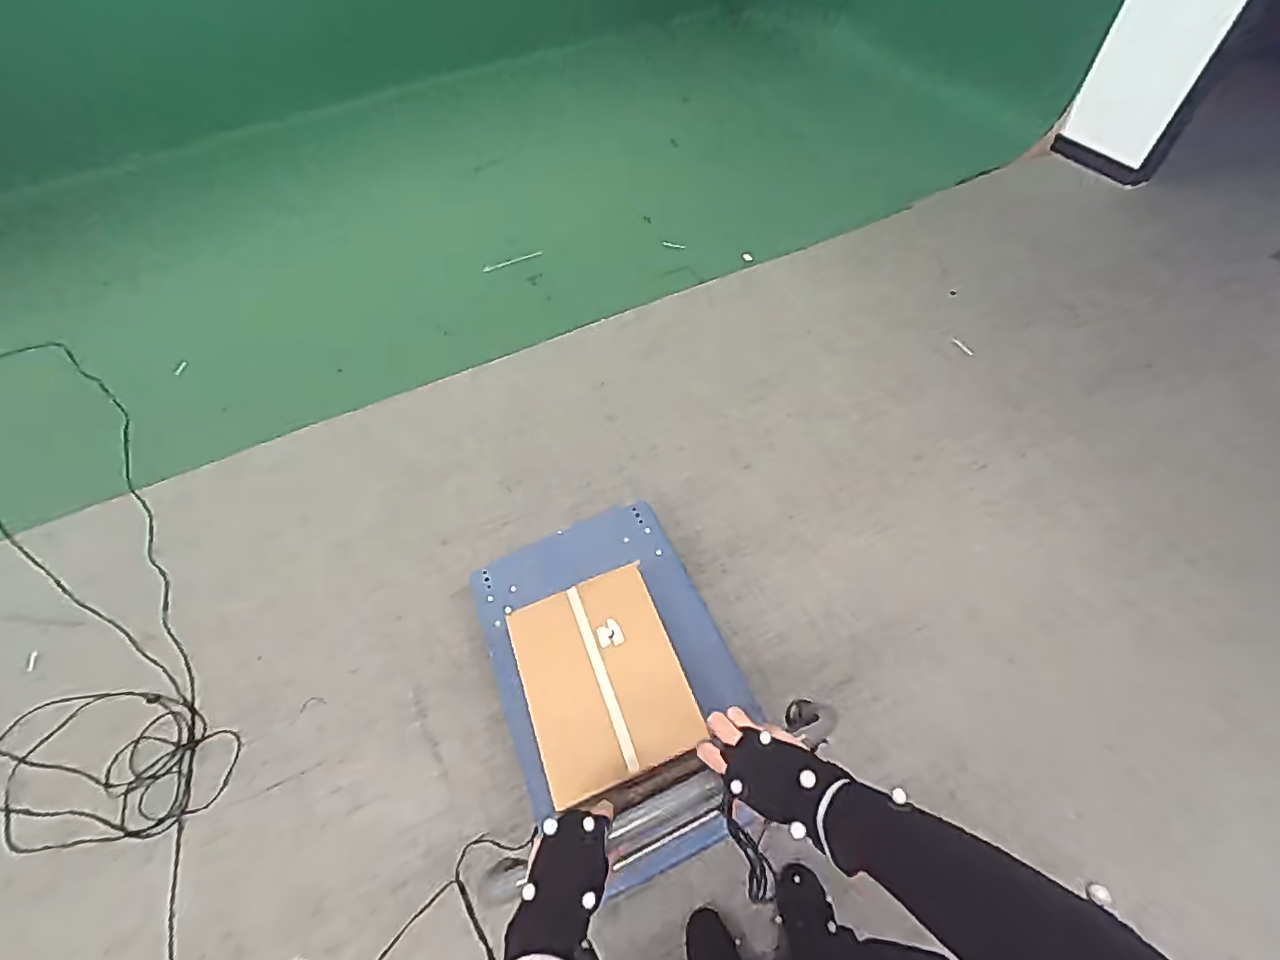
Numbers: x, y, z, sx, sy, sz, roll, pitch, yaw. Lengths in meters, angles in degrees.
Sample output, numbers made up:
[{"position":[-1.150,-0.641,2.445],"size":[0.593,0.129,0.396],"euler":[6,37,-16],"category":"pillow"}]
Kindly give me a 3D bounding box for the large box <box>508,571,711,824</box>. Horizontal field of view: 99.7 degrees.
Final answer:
[{"position":[-0.061,0.491,1.222],"size":[0.320,0.320,0.408],"euler":[-21,55,-8],"category":"large box"}]
